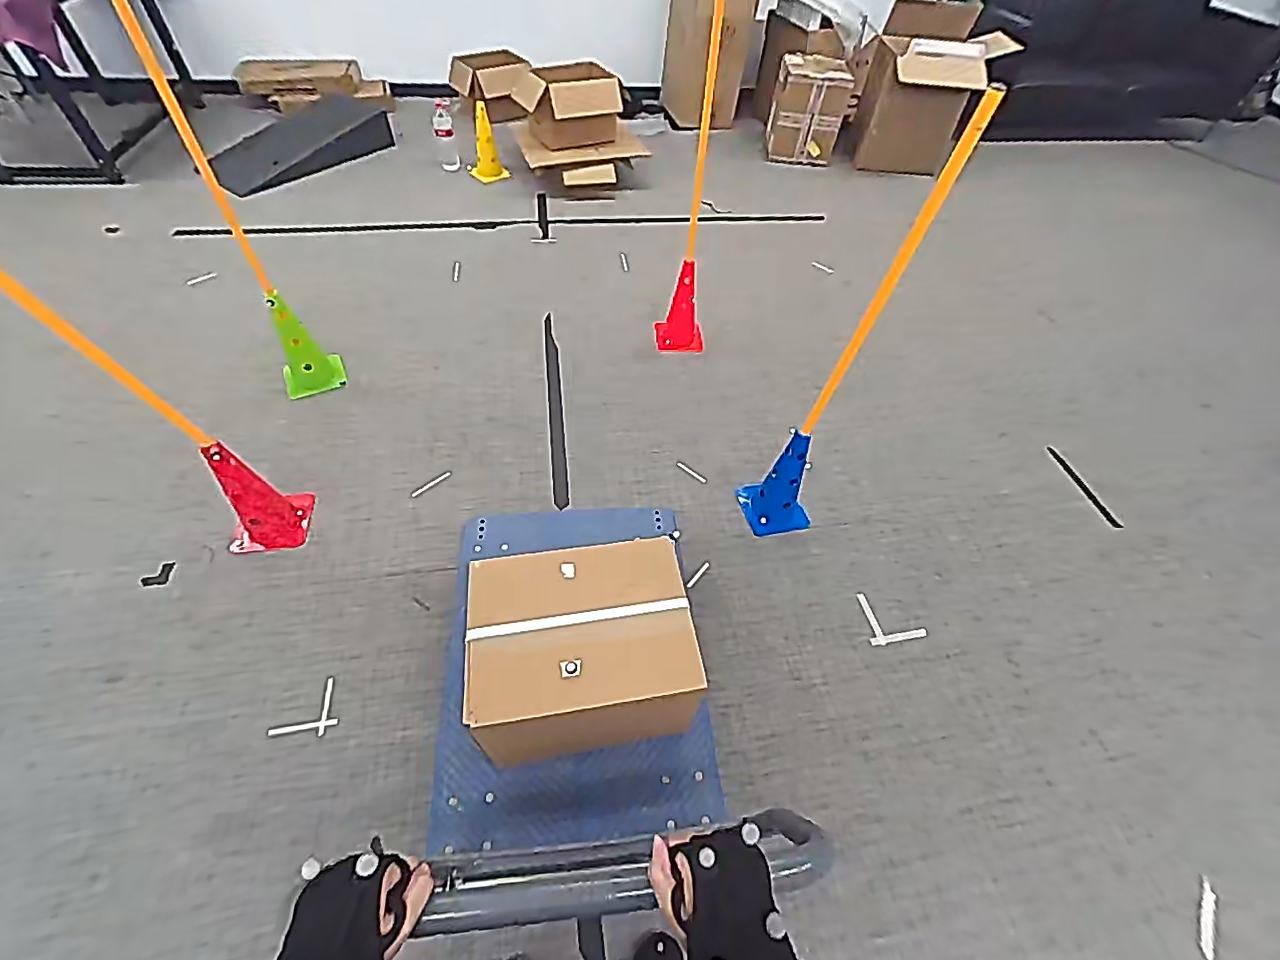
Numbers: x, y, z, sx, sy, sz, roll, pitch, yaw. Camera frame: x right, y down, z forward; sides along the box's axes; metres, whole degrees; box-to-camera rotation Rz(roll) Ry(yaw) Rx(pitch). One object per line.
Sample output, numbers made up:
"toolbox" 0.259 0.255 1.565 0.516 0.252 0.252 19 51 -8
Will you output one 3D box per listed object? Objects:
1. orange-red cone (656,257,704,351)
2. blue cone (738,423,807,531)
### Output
"orange-red cone" 0.182 -0.722 2.174 0.199 0.360 0.198 1 52 -5
"blue cone" 0.446 -0.021 1.656 0.193 0.380 0.192 -8 52 -11
